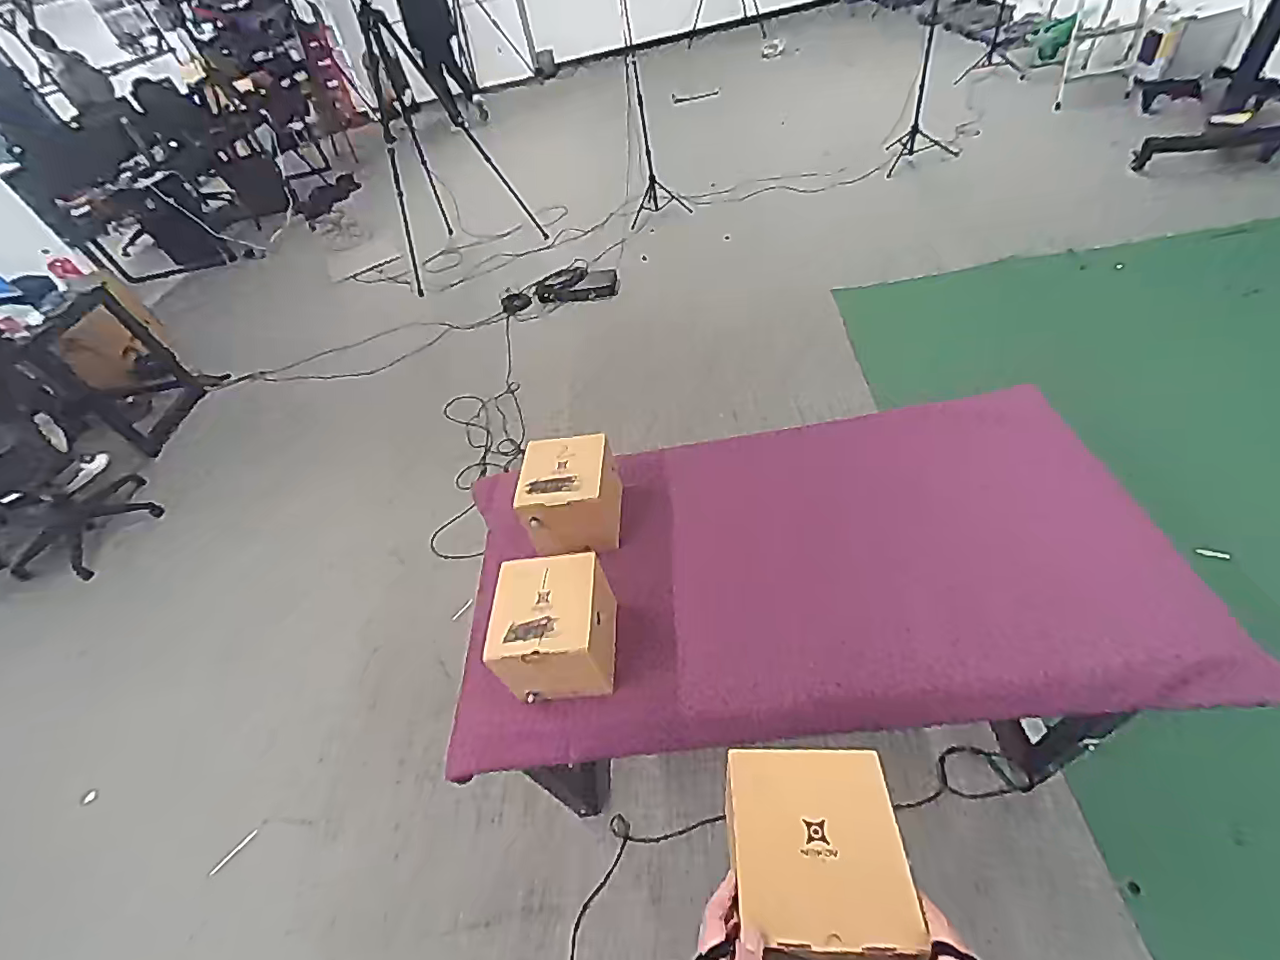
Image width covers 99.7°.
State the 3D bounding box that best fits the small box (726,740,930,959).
[{"bbox_3d":[0.184,0.413,0.593,0.168,0.176,0.179,-1,40,5],"label":"small box"}]

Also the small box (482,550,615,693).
[{"bbox_3d":[-0.140,0.242,0.899,0.168,0.176,0.179,-7,46,7],"label":"small box"}]
